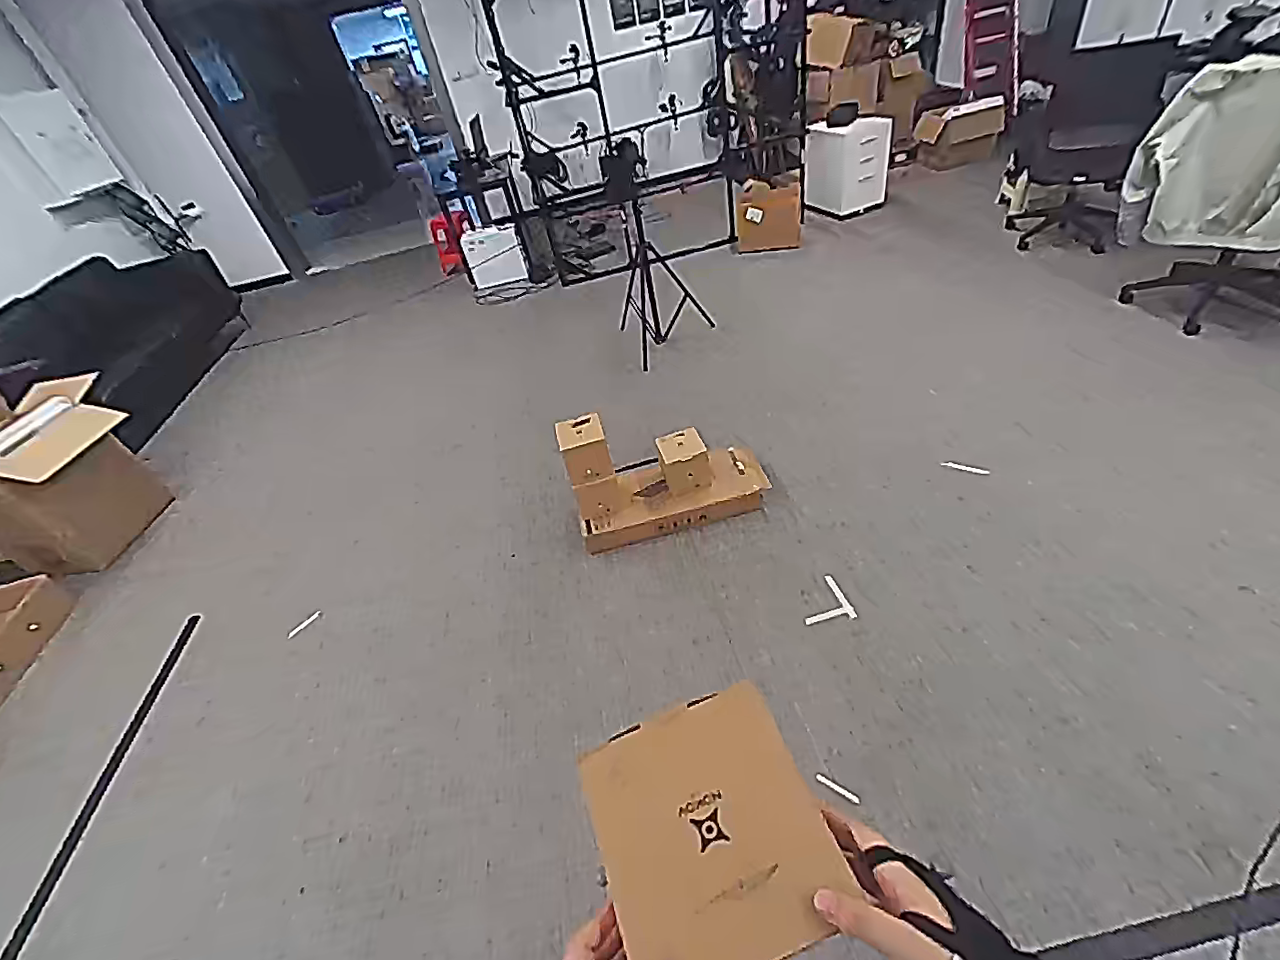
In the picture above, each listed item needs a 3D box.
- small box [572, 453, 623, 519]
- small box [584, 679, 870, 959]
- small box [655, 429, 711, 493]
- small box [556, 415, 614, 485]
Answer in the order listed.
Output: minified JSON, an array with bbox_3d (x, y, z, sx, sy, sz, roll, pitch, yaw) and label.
[{"bbox_3d":[-0.169,0.023,2.094,0.168,0.176,0.179,-15,39,-2],"label":"small box"},{"bbox_3d":[0.063,0.311,0.468,0.168,0.176,0.179,-19,48,-8],"label":"small box"},{"bbox_3d":[0.168,-0.067,2.105,0.168,0.176,0.179,-17,40,-4],"label":"small box"},{"bbox_3d":[-0.203,-0.109,2.002,0.168,0.176,0.179,-16,40,-3],"label":"small box"}]
